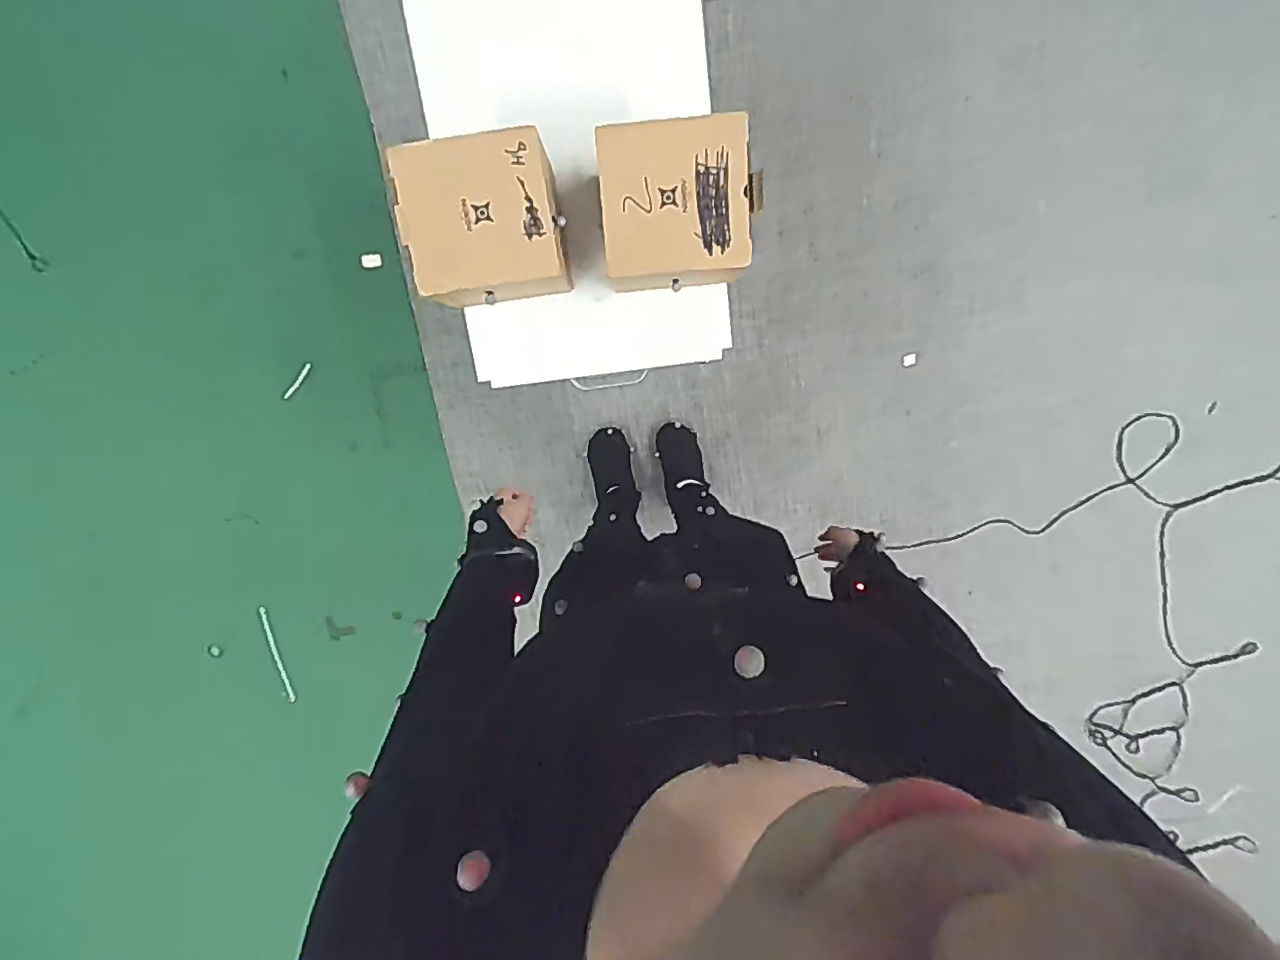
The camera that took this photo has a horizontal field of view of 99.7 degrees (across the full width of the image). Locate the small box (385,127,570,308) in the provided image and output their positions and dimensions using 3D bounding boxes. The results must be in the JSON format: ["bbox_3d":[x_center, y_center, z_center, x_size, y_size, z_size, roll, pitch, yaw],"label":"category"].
[{"bbox_3d":[-0.197,-0.327,0.708,0.179,0.176,0.168,-8,103,0],"label":"small box"}]
